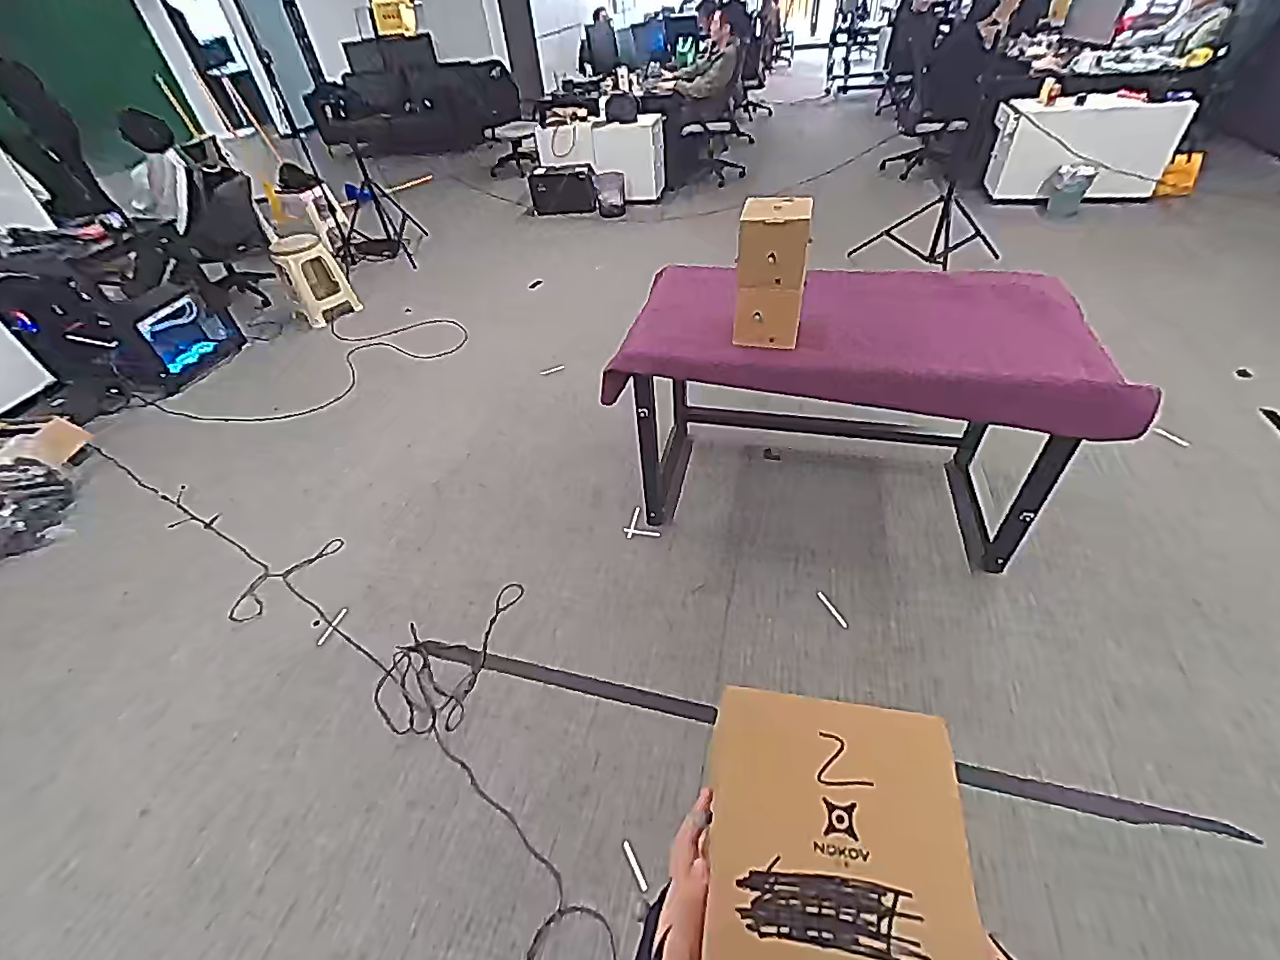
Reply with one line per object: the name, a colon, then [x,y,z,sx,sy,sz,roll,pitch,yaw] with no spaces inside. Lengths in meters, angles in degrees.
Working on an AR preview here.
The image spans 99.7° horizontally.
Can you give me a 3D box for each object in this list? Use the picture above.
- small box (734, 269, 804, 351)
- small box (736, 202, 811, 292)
small box: [0.352,-0.470,1.489,0.168,0.176,0.179,8,44,14]
small box: [0.339,-0.594,1.381,0.168,0.176,0.179,7,44,13]
